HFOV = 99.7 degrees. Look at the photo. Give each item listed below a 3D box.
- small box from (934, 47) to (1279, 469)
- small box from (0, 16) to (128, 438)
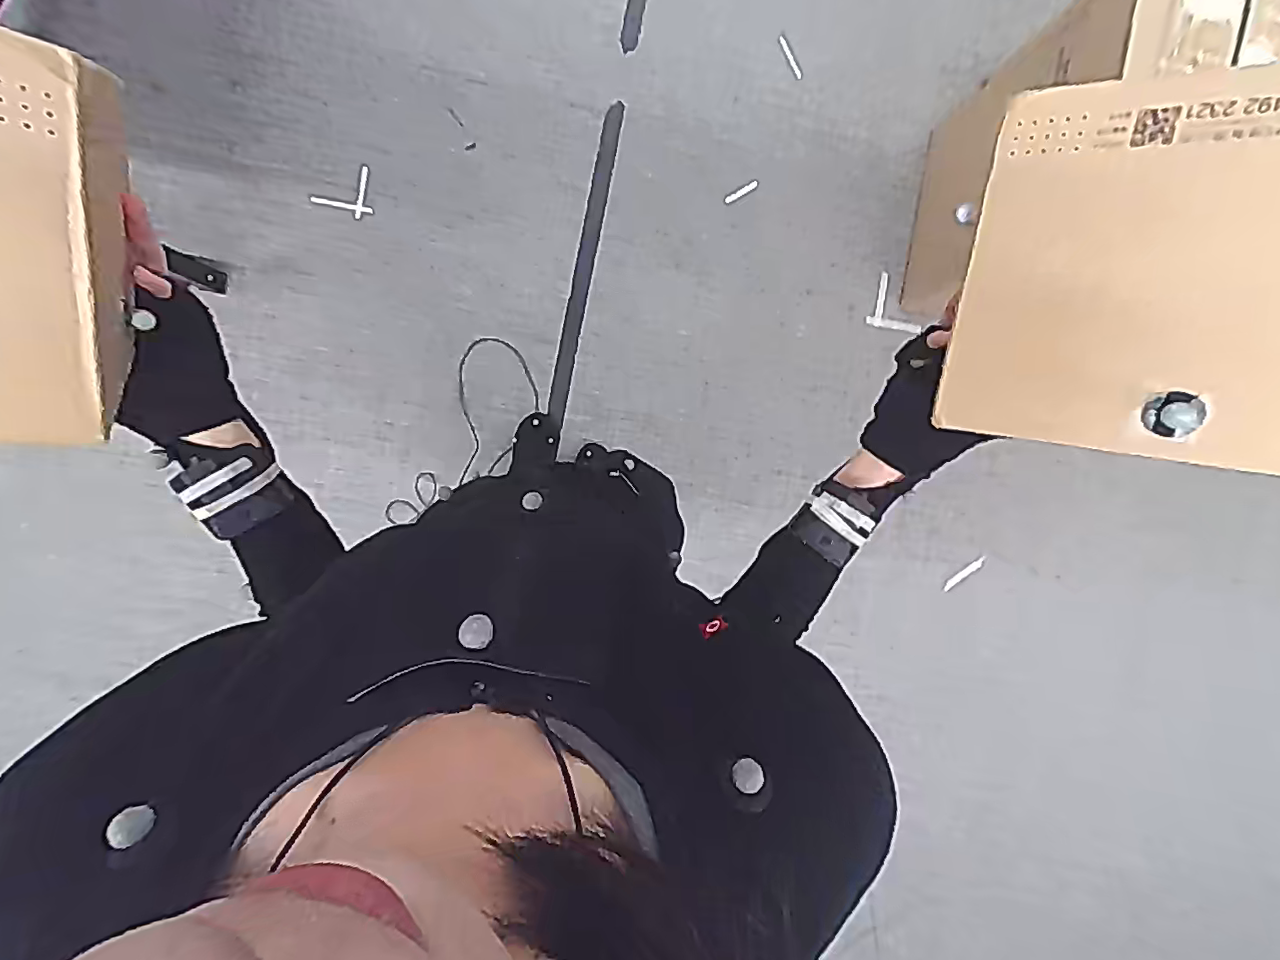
[{"bbox_3d":[0.284,-0.116,0.311,0.168,0.179,0.176,13,109,30],"label":"small box"},{"bbox_3d":[-0.352,-0.131,0.240,0.168,0.179,0.176,-1,116,-37],"label":"small box"}]
